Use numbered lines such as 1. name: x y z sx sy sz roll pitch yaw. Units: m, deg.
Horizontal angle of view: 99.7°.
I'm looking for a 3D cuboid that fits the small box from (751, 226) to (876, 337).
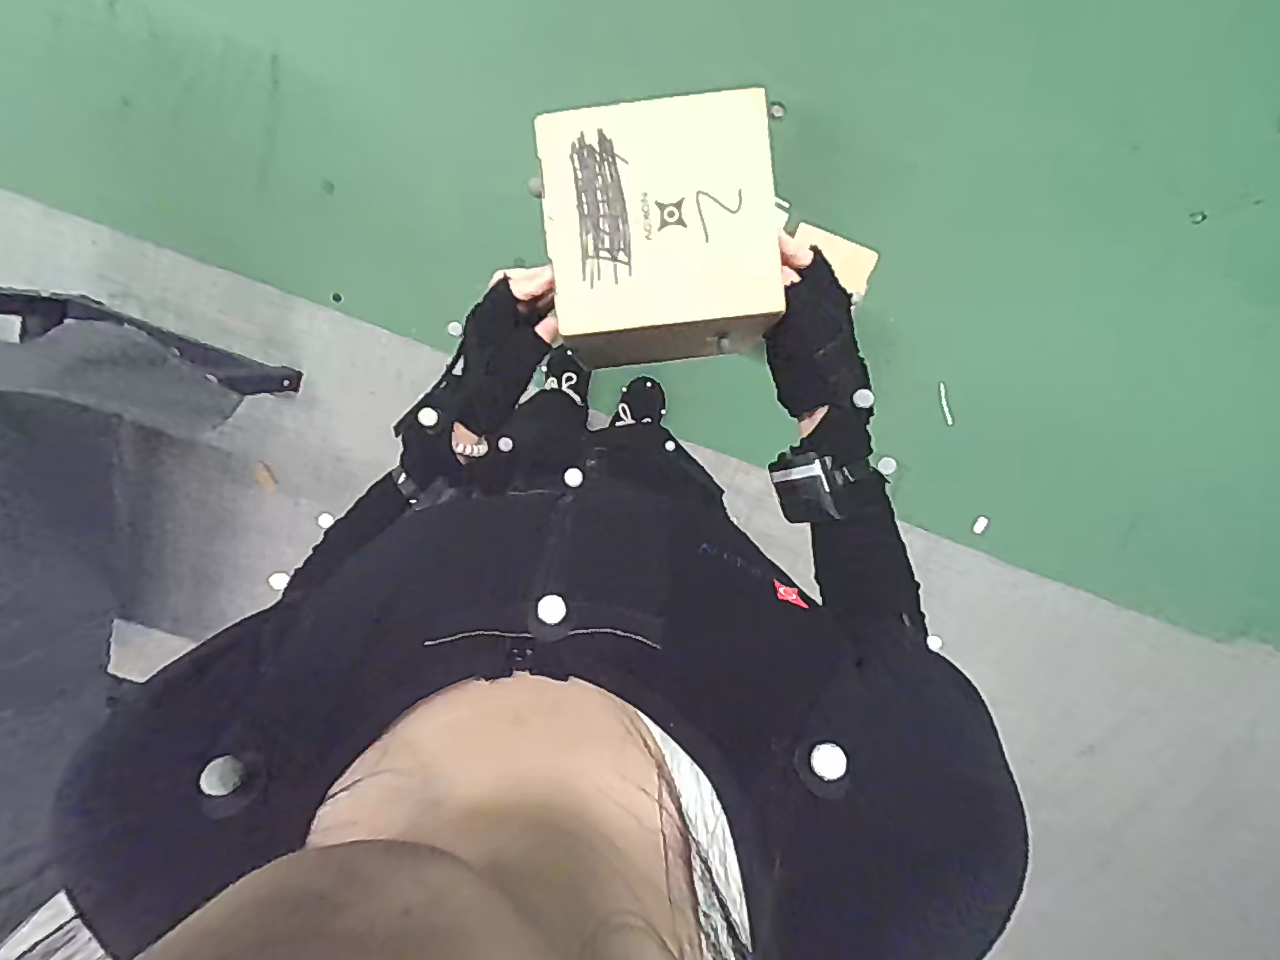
1. small box: 0.363 -0.419 1.167 0.179 0.176 0.168 20 102 -5
